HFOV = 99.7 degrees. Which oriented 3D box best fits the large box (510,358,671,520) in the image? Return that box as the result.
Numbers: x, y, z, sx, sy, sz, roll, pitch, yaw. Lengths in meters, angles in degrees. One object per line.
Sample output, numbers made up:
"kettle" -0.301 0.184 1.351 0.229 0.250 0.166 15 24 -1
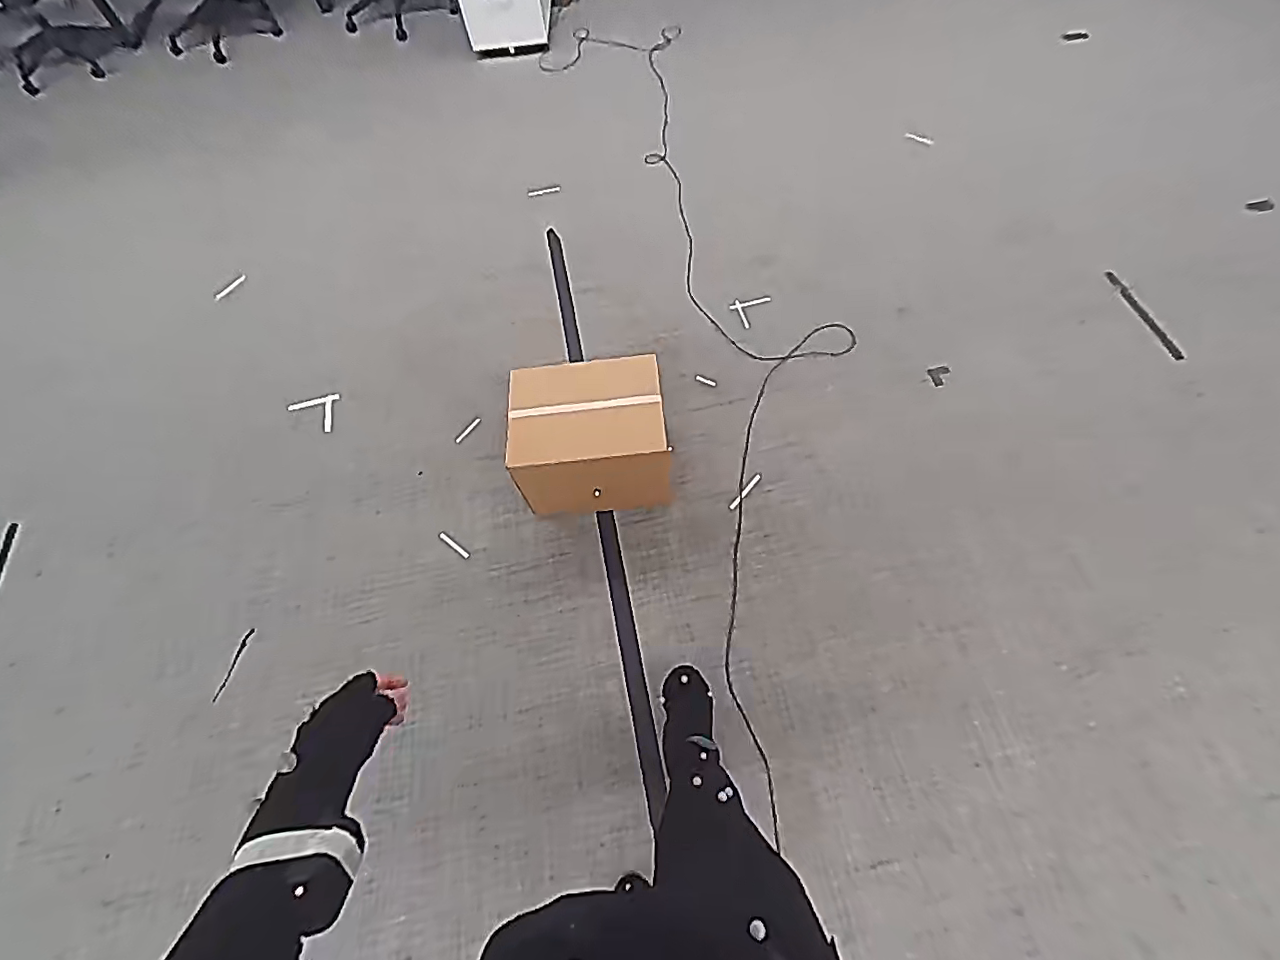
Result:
"large box" -0.129 -0.104 1.528 0.408 0.320 0.320 -6 62 2
